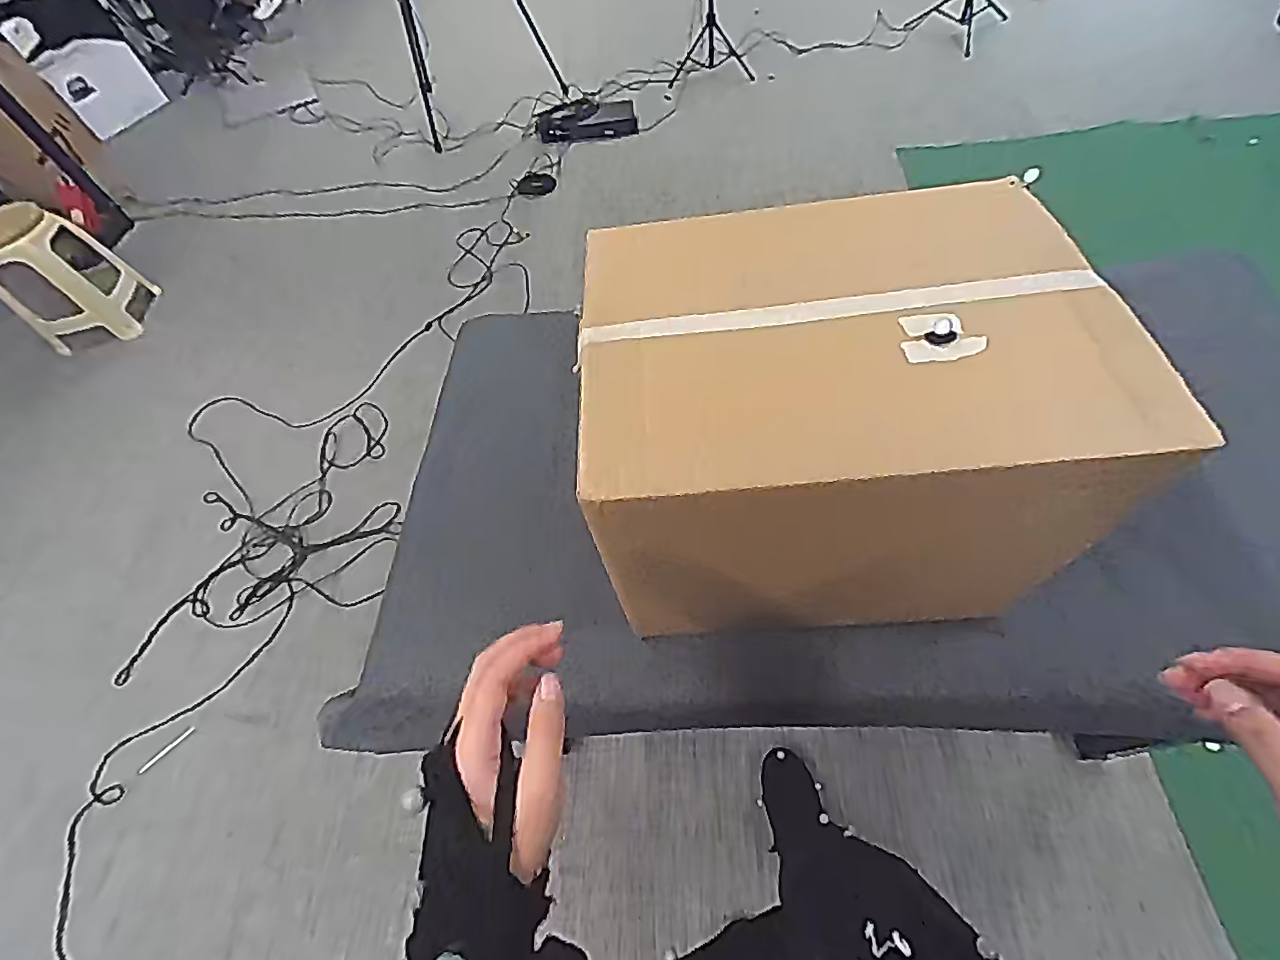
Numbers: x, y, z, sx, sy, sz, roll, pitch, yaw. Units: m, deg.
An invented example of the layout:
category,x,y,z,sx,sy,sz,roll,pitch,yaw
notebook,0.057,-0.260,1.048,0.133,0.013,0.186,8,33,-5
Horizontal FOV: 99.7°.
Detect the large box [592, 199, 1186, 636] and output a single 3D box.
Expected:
category,x,y,z,sx,sy,sz,roll,pitch,yaw
large box,0.169,-0.045,0.569,0.408,0.320,0.320,-5,57,3
